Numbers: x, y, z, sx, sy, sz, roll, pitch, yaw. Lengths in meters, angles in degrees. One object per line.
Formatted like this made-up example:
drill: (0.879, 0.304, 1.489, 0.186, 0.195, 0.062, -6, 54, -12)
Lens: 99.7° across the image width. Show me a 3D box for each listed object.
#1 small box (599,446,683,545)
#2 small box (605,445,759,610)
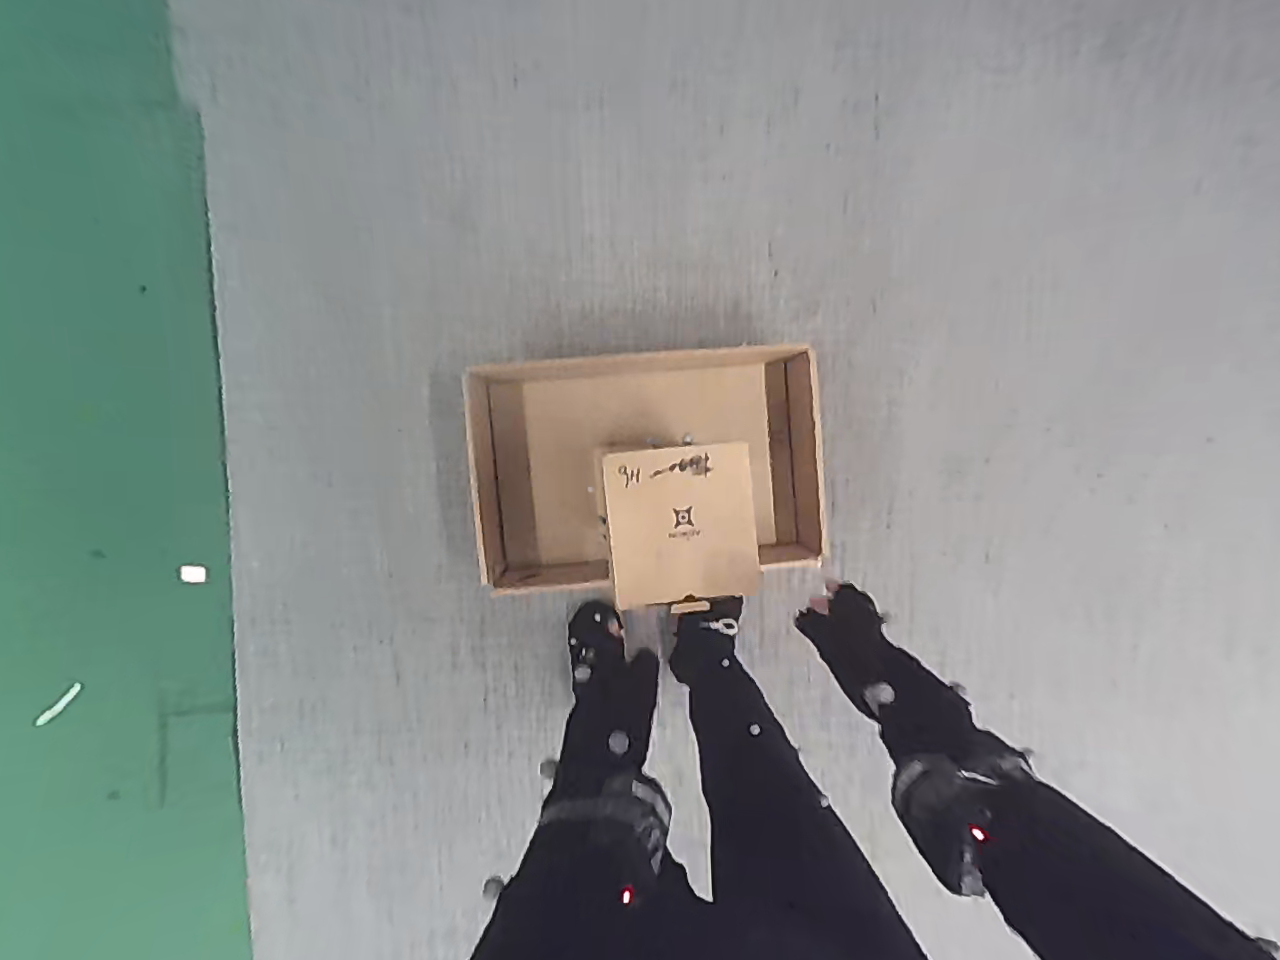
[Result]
small box: (0.017, 0.022, 1.013, 0.179, 0.176, 0.168, -4, 92, -1)
small box: (0.045, 0.050, 0.690, 0.168, 0.176, 0.179, -6, 94, -4)
